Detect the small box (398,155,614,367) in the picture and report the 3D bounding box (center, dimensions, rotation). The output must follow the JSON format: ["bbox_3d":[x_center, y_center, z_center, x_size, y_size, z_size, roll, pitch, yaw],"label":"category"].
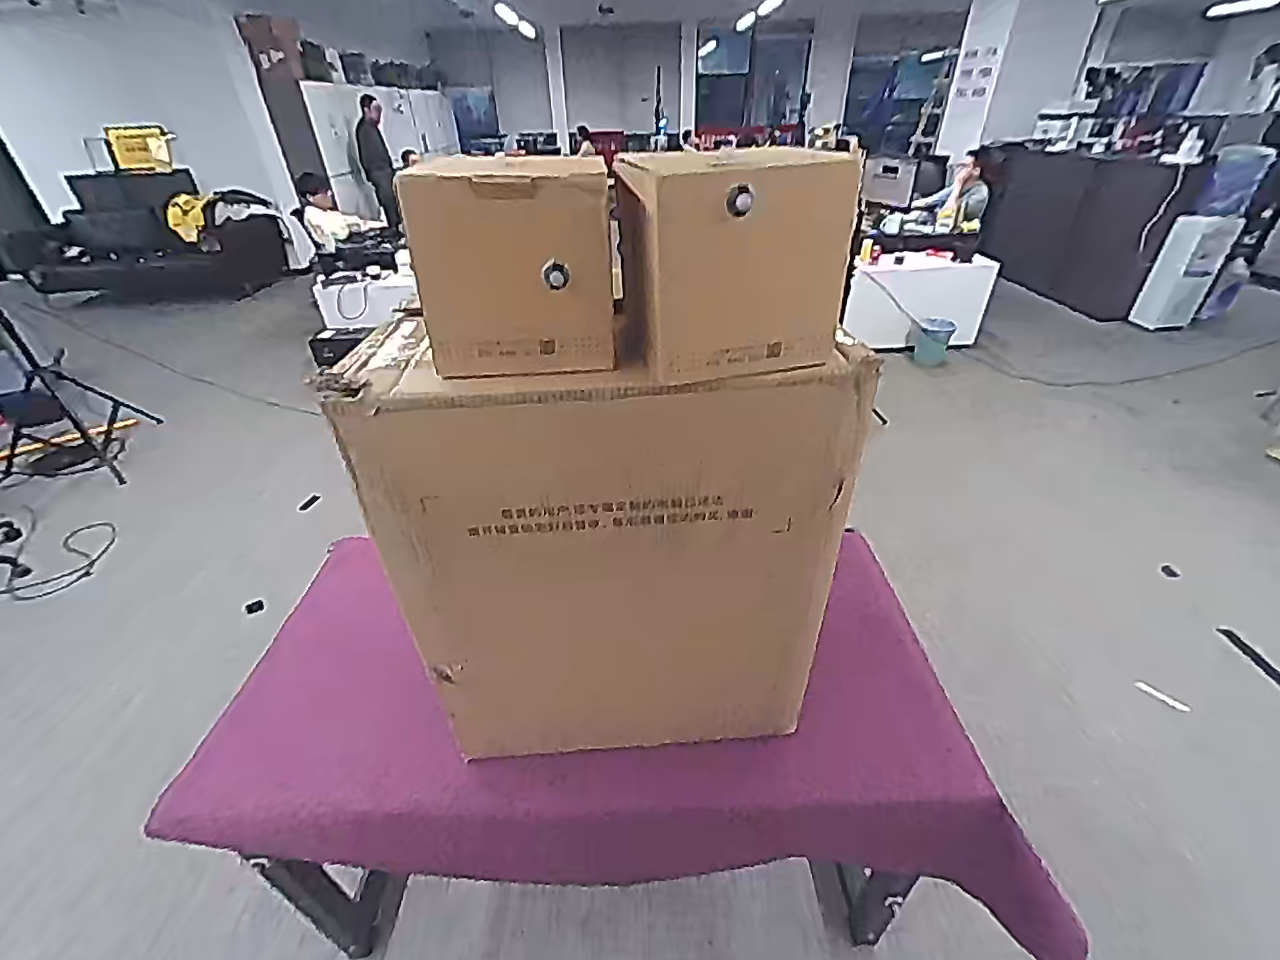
[{"bbox_3d":[-0.112,-0.216,0.530,0.168,0.176,0.179,-2,33,-5],"label":"small box"}]

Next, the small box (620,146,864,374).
[{"bbox_3d":[0.078,-0.213,0.512,0.168,0.176,0.179,-9,34,-9],"label":"small box"}]
